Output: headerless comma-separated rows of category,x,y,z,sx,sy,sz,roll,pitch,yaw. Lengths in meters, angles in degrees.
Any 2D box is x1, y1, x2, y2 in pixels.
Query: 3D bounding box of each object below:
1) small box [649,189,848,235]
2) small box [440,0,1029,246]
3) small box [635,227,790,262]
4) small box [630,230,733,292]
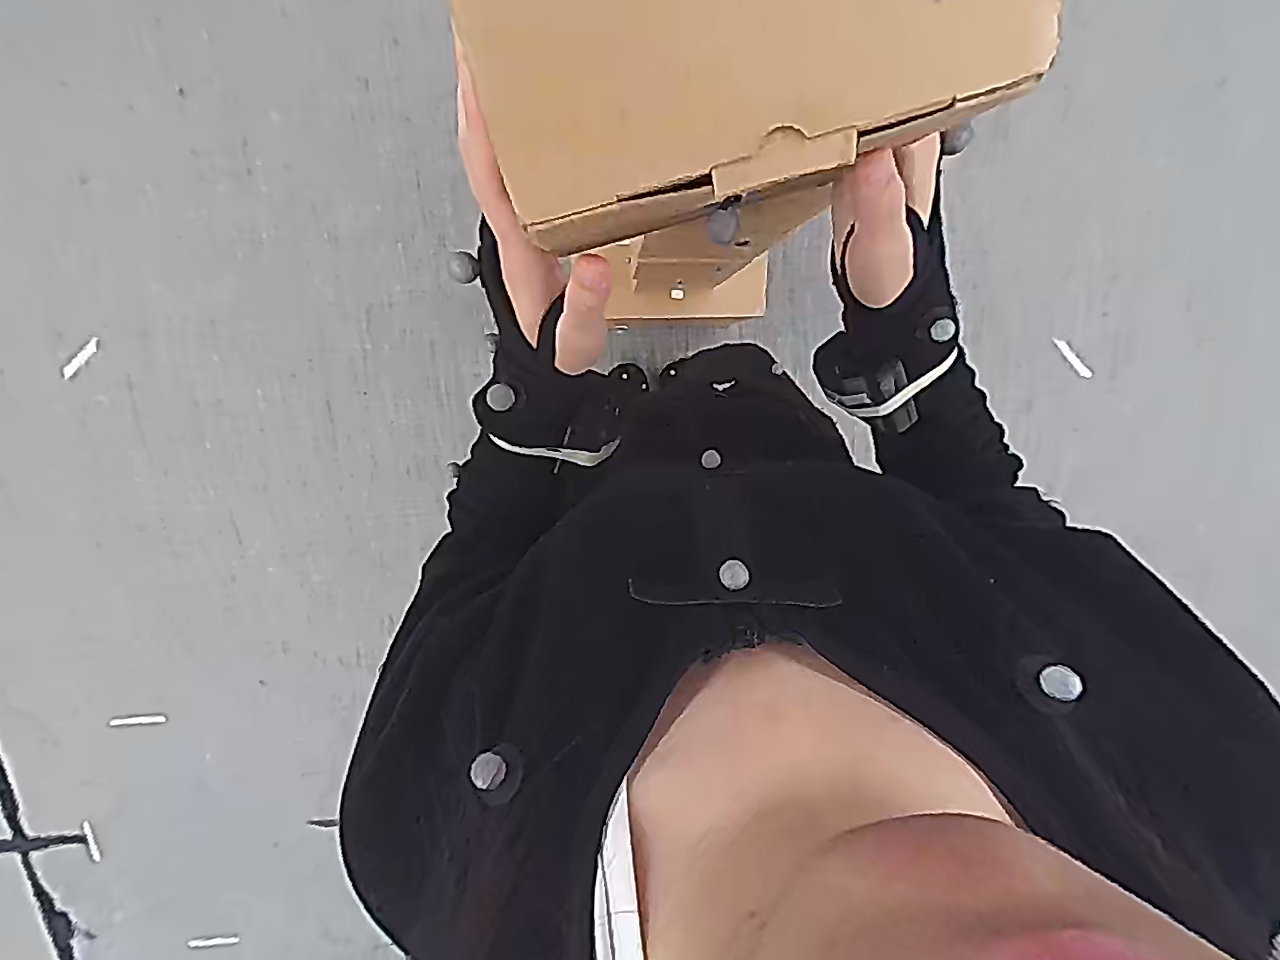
small box,0.097,-0.351,0.540,0.179,0.176,0.168,0,103,-3
small box,0.013,-0.203,0.211,0.168,0.176,0.179,-16,111,2
small box,0.088,-0.385,0.698,0.179,0.176,0.168,0,102,-4
small box,0.071,-0.452,1.019,0.179,0.176,0.168,-4,103,-4
